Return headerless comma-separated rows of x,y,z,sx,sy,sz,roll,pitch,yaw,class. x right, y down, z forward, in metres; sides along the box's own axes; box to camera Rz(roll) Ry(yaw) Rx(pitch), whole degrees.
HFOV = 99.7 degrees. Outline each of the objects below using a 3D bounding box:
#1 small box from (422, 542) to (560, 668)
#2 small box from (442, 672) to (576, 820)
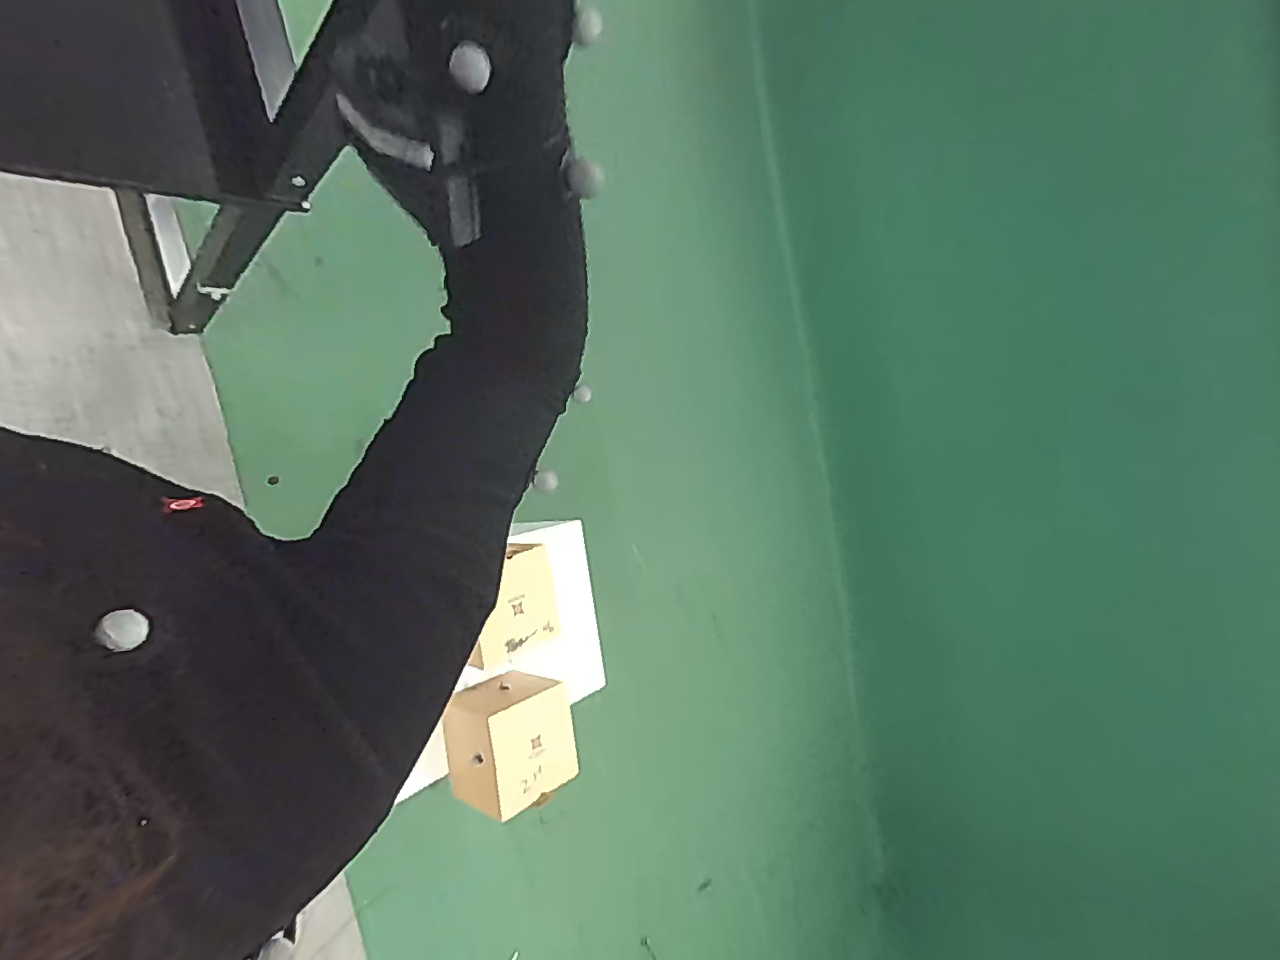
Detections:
-0.271,0.214,0.973,0.168,0.176,0.179,-12,96,-47,small box
-0.240,0.462,0.977,0.168,0.176,0.179,-8,92,-47,small box
